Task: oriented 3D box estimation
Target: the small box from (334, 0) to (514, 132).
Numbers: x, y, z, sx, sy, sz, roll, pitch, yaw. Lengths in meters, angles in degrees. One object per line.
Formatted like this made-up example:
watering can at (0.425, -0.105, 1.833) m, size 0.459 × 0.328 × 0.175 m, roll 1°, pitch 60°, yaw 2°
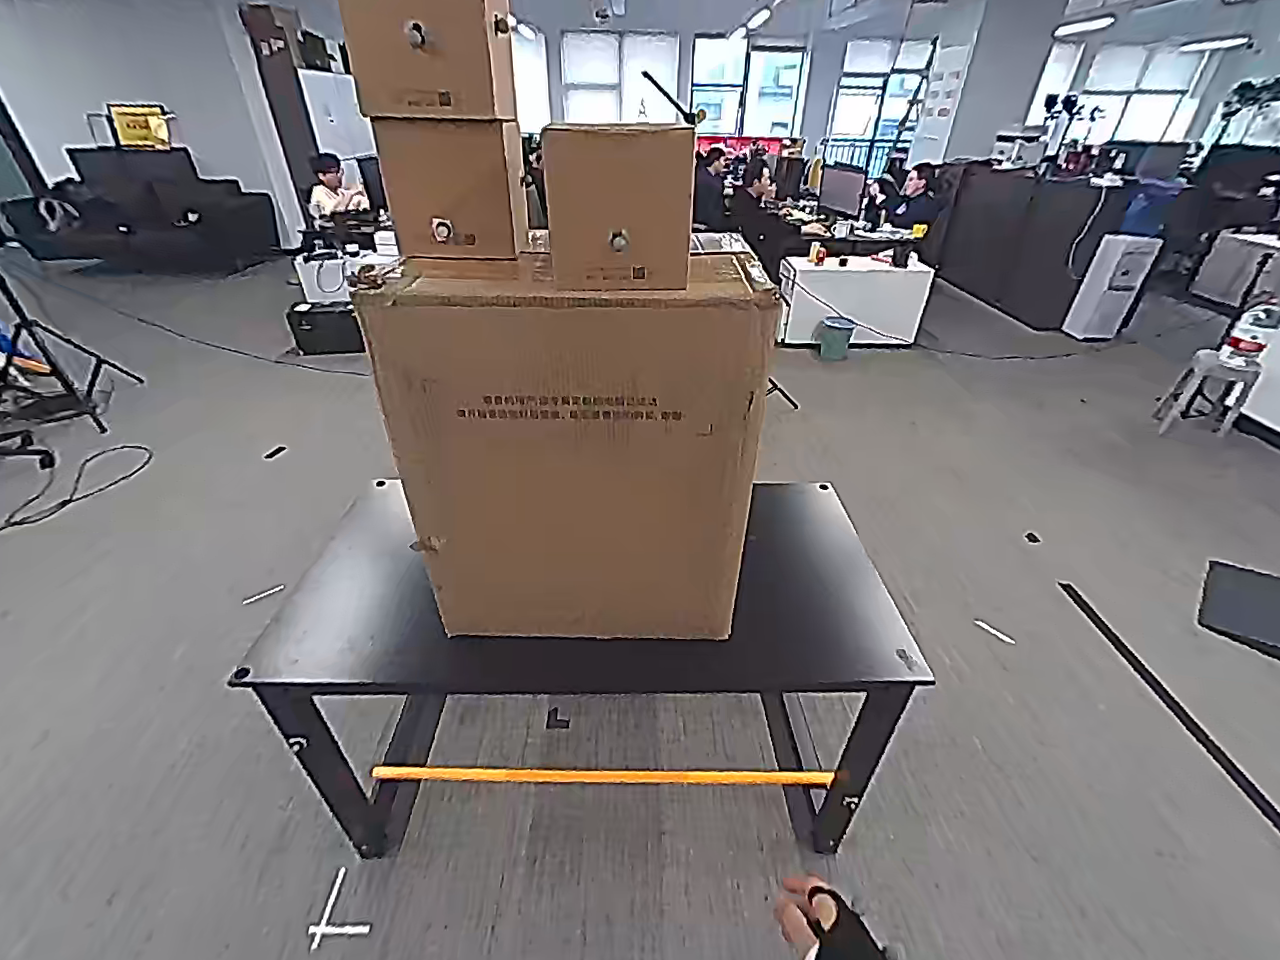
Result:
small box at (-0.261, -0.545, 0.688) m, size 0.168 × 0.176 × 0.179 m, roll -1°, pitch 34°, yaw -3°

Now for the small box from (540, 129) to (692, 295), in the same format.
small box at (-0.027, -0.342, 0.685) m, size 0.168 × 0.176 × 0.179 m, roll -2°, pitch 35°, yaw -1°

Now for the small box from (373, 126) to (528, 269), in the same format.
small box at (-0.261, -0.417, 0.792) m, size 0.168 × 0.176 × 0.179 m, roll -2°, pitch 34°, yaw -4°
